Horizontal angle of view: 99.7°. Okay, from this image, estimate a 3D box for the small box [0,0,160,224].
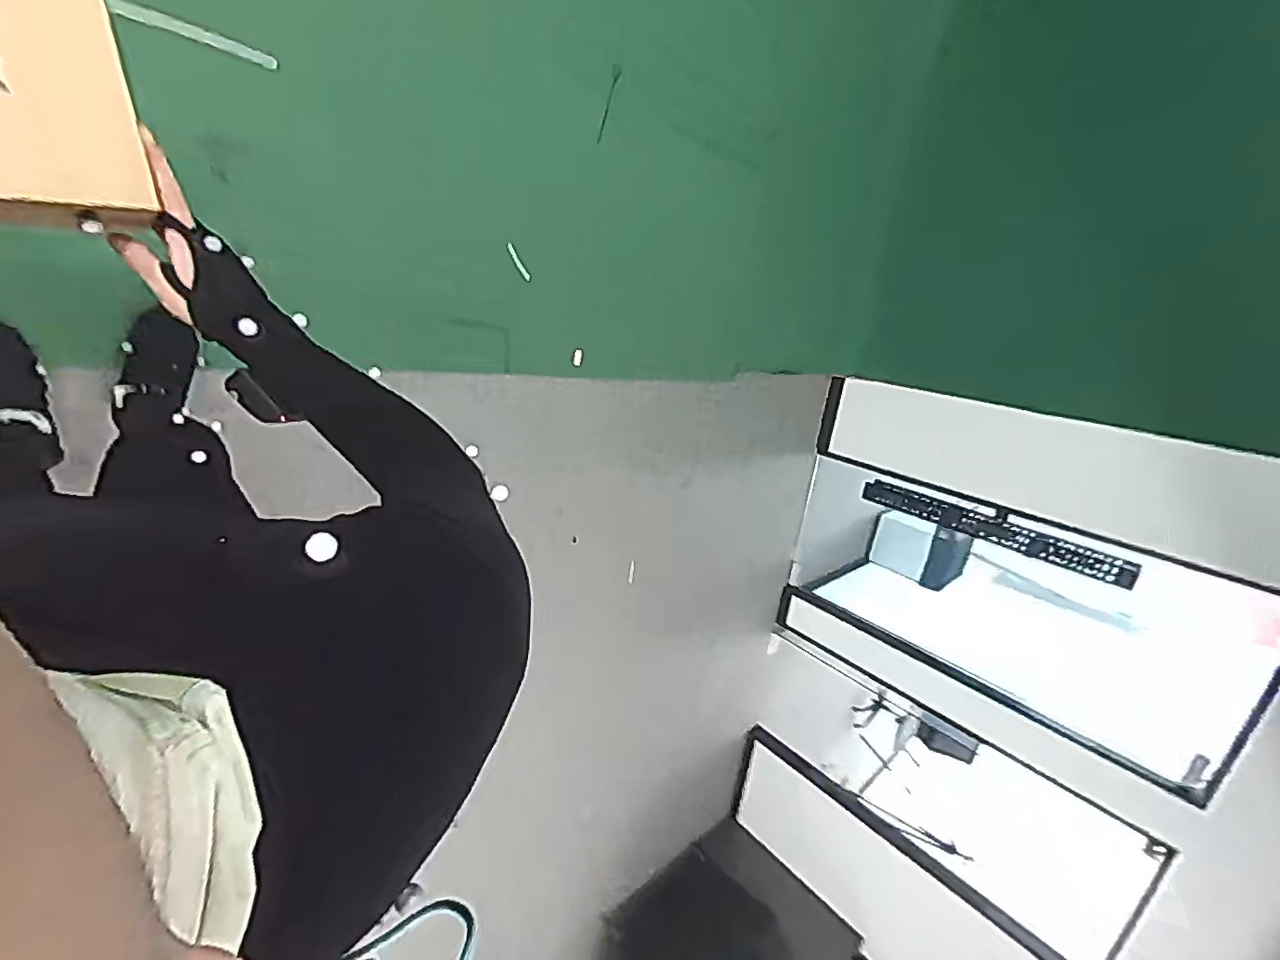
[{"bbox_3d":[-0.509,-0.297,0.412,0.179,0.176,0.168,-18,115,-41],"label":"small box"}]
